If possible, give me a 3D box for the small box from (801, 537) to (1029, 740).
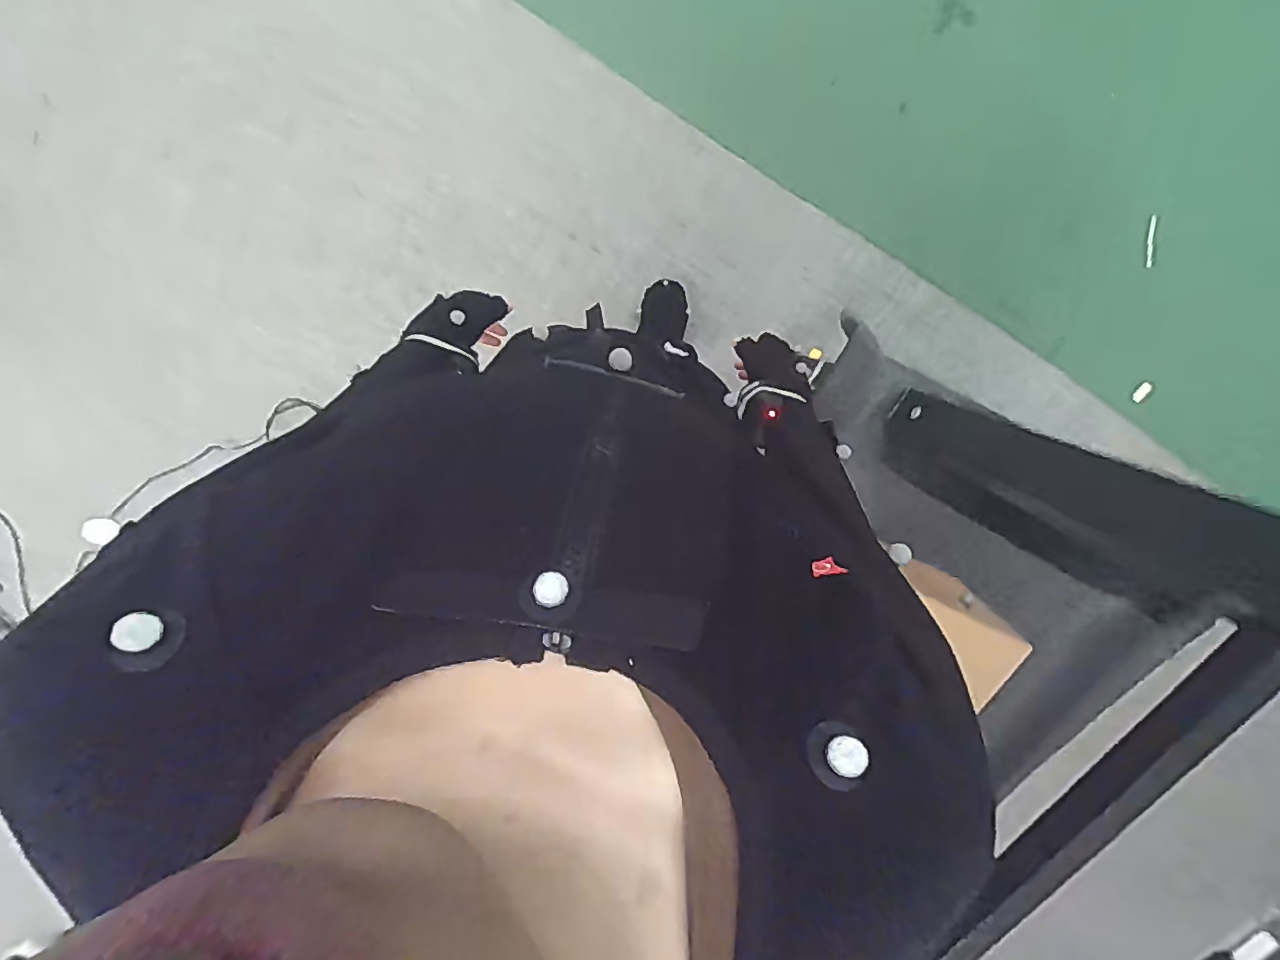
[{"bbox_3d":[0.348,0.200,0.723,0.179,0.176,0.168,26,106,-8],"label":"small box"}]
